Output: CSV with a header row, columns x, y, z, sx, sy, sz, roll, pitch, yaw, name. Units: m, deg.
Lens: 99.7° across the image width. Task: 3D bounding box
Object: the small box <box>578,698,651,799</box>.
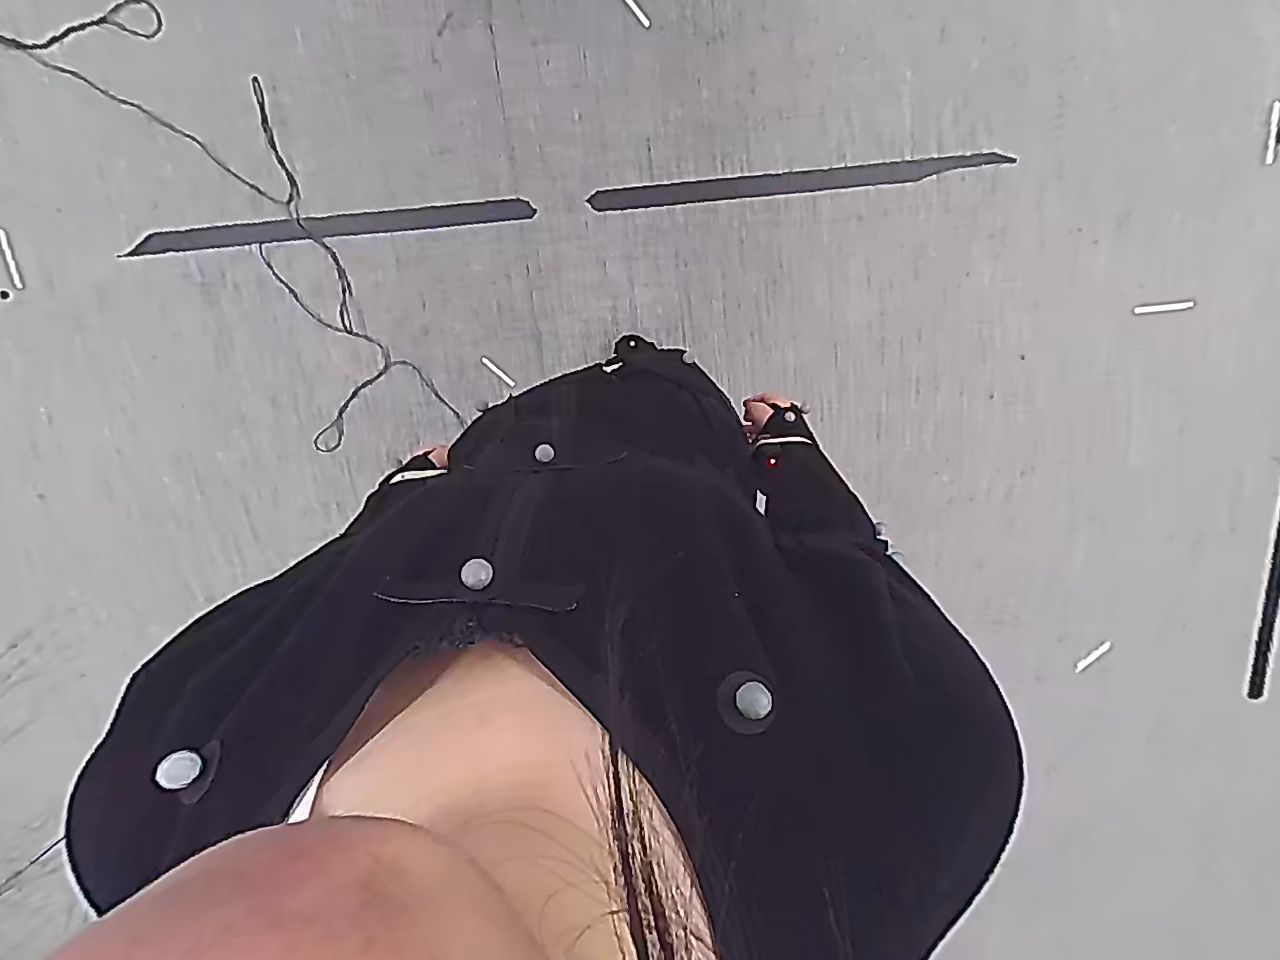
x,y,z,sx,sy,sz,roll,pitch,yaw,name
-0.070,0.762,1.547,0.168,0.176,0.179,-15,102,1,small box
